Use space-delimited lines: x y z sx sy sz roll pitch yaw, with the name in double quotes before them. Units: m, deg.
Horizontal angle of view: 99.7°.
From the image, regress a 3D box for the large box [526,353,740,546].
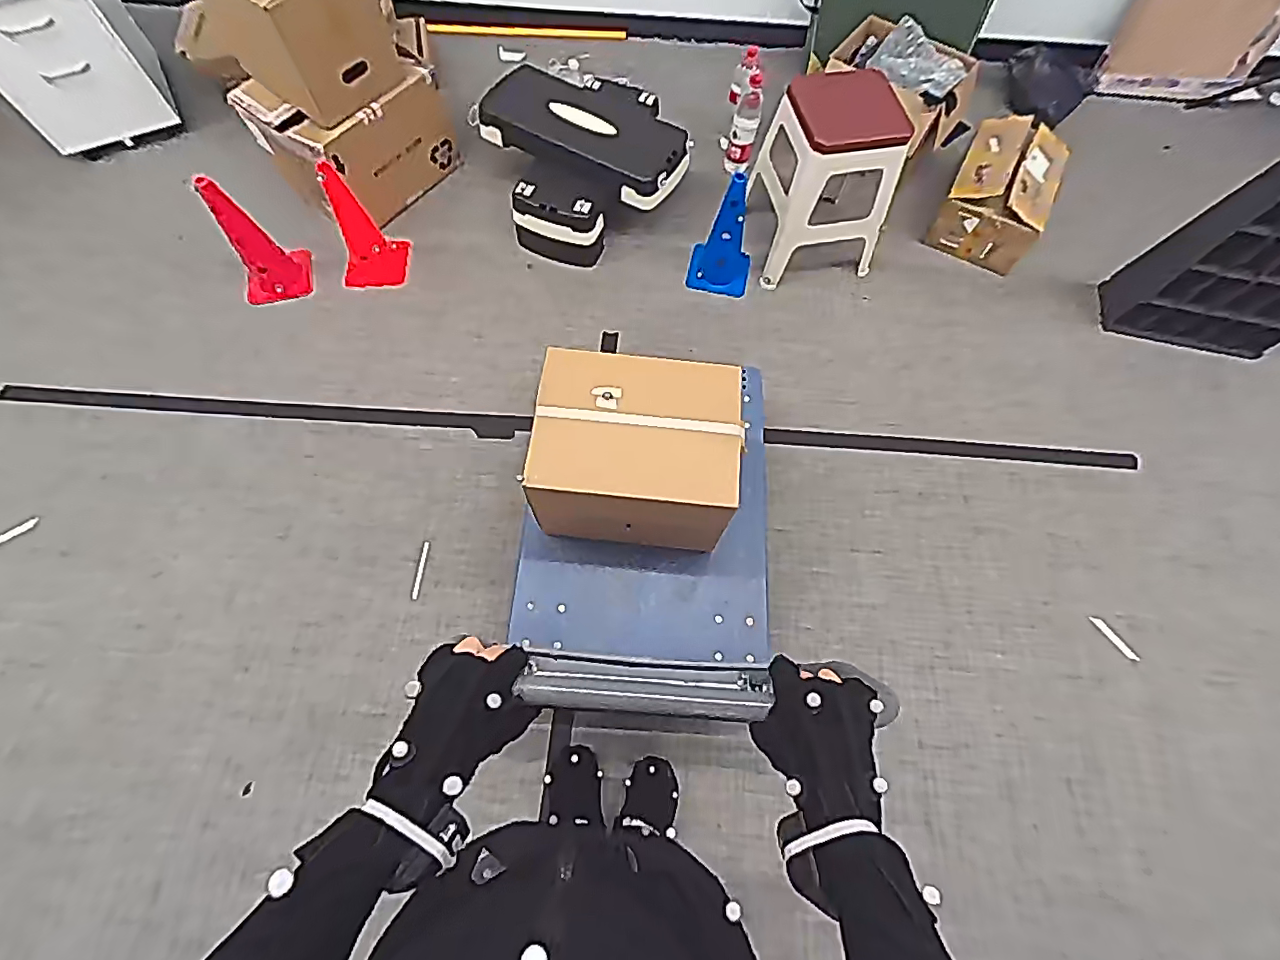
"large box" -0.005 -0.051 1.200 0.408 0.320 0.320 6 67 1
